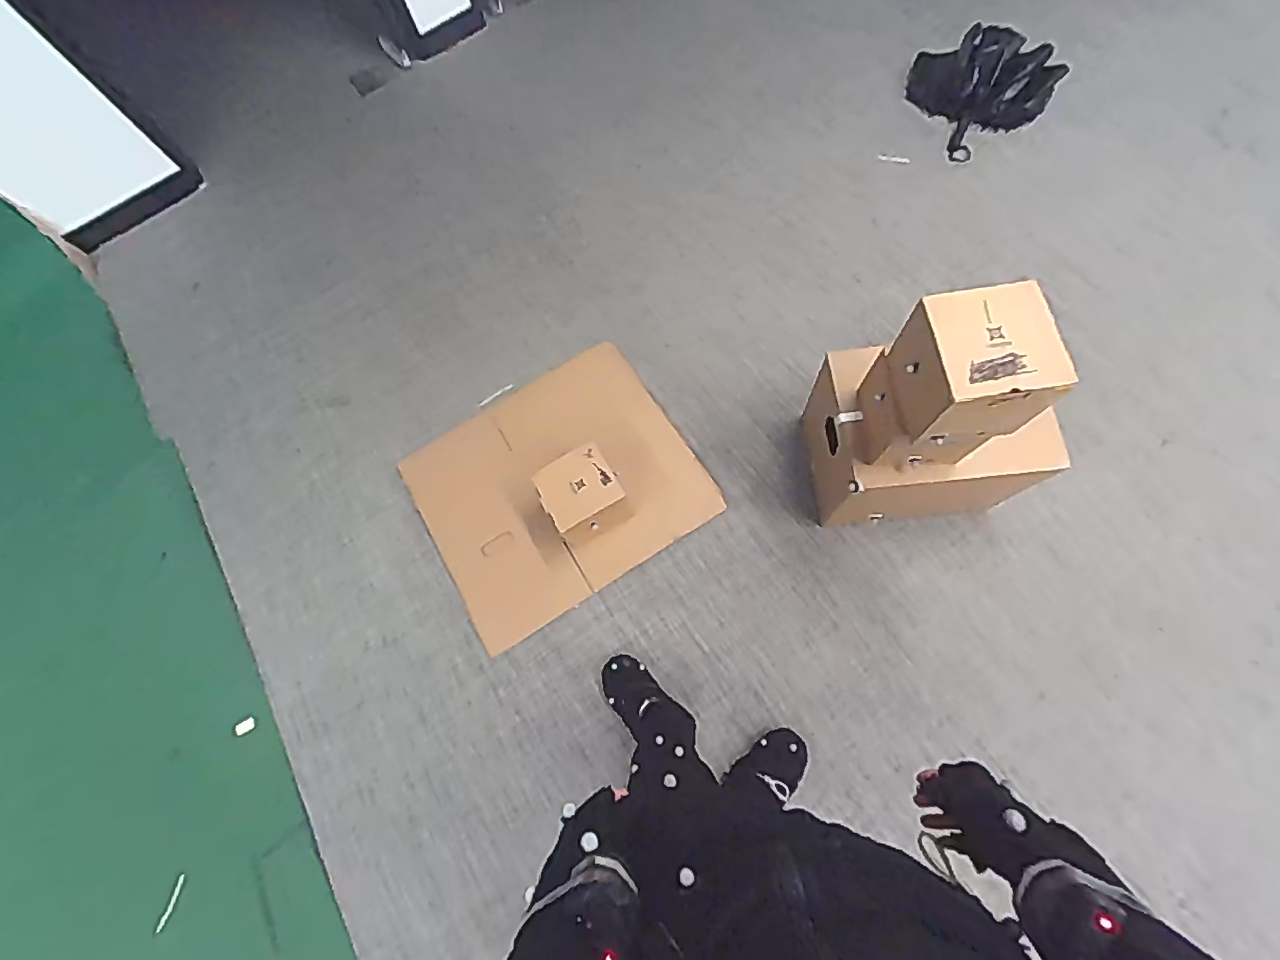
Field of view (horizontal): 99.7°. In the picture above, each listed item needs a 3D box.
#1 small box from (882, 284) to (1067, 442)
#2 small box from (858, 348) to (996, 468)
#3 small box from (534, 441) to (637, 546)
[{"bbox_3d":[0.505,-0.170,0.847,0.168,0.176,0.179,-10,72,4],"label":"small box"},{"bbox_3d":[0.519,-0.133,1.007,0.168,0.176,0.179,-3,73,6],"label":"small box"},{"bbox_3d":[-0.128,0.041,1.336,0.179,0.176,0.168,-33,69,-3],"label":"small box"}]
